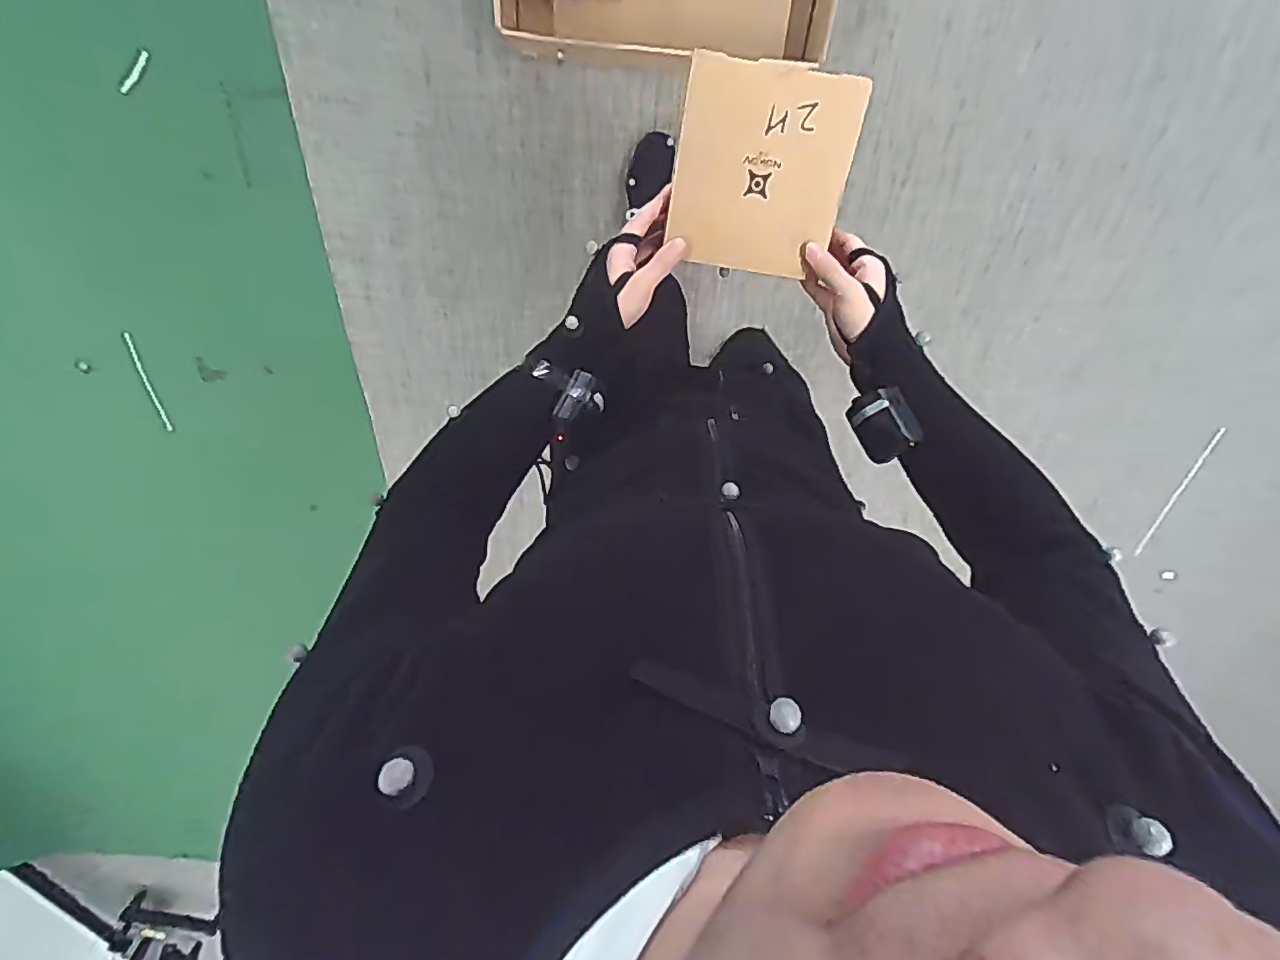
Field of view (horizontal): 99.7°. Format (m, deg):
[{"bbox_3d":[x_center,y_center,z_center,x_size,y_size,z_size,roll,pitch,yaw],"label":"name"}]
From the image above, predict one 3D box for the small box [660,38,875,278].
[{"bbox_3d":[0.119,-0.330,0.581,0.168,0.176,0.179,9,116,-2],"label":"small box"}]
